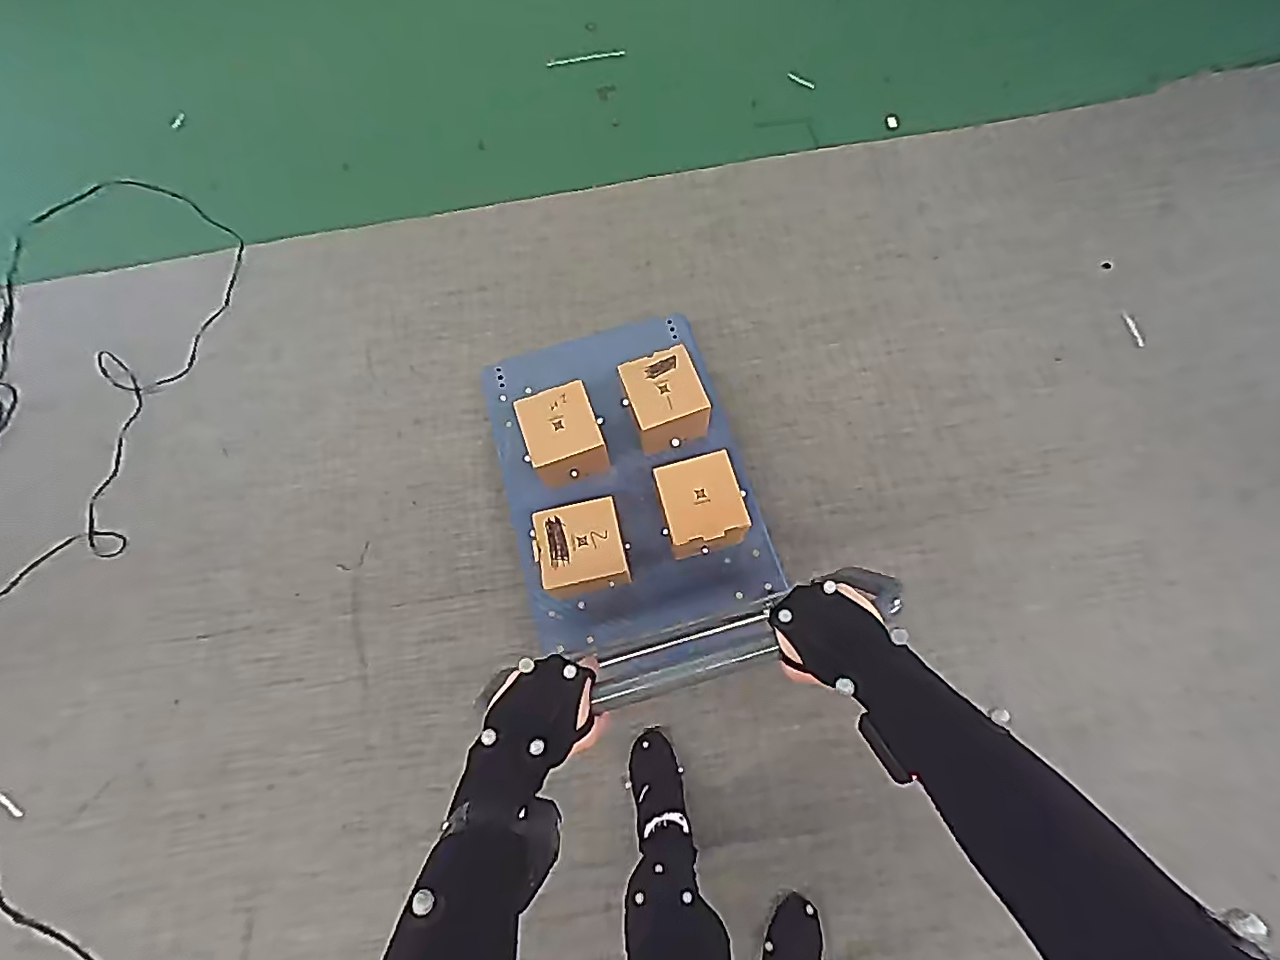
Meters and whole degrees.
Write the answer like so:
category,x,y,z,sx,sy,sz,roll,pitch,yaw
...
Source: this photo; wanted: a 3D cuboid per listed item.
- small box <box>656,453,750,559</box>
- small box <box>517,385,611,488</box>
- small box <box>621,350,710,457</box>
category,x,y,z,sx,sy,sz,roll,pitch,yaw
small box,0.135,0.065,1.231,0.168,0.176,0.179,-15,71,-2
small box,-0.176,-0.094,1.303,0.168,0.176,0.179,-19,71,-4
small box,0.060,-0.180,1.317,0.168,0.176,0.179,-20,72,-2
